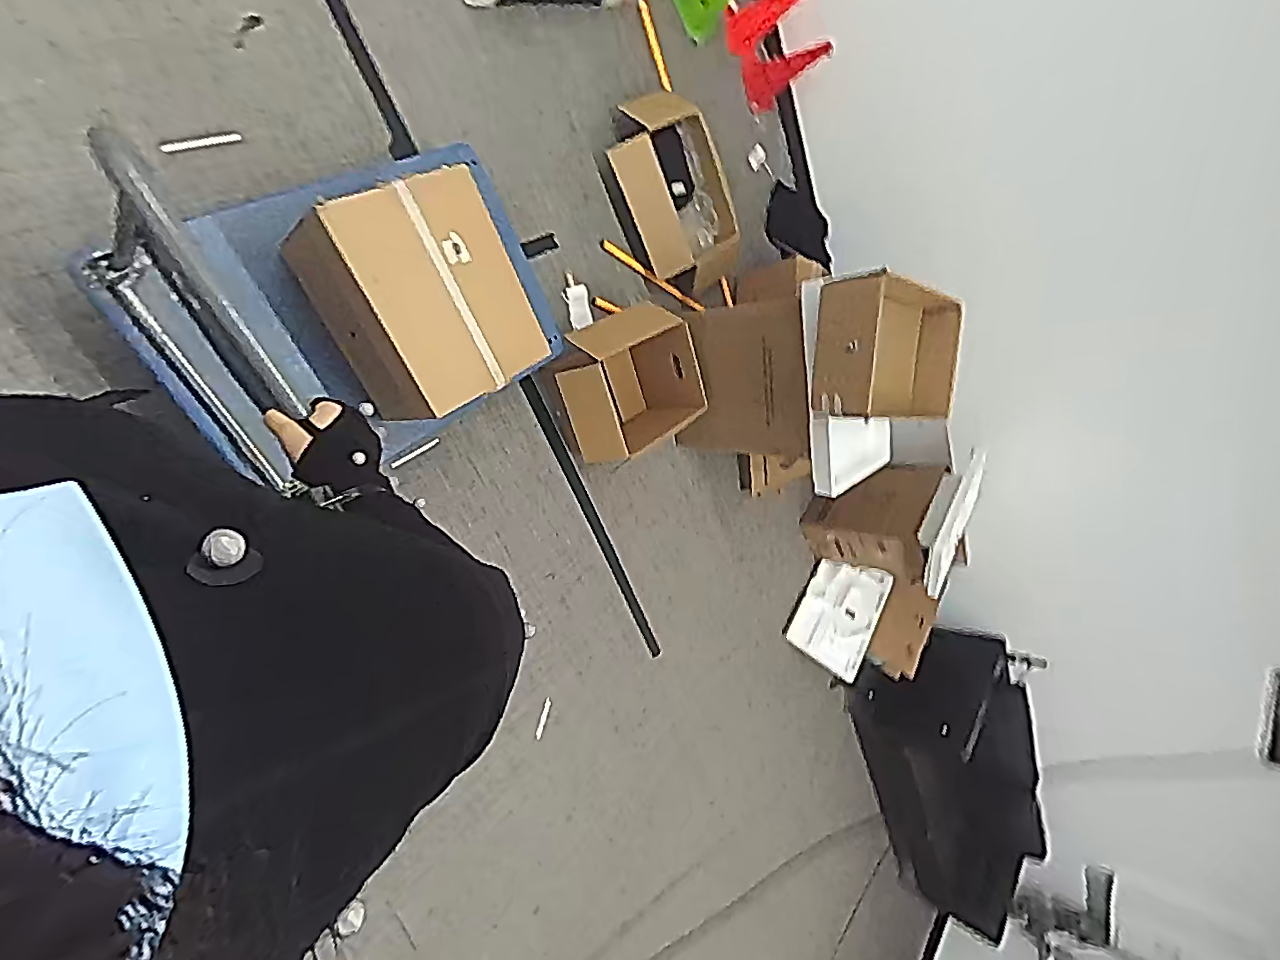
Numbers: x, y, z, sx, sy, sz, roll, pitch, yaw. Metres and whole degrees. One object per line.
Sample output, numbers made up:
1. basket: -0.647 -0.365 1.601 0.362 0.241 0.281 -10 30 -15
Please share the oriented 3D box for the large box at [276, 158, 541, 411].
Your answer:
1. large box: -0.492 -0.397 1.174 0.320 0.320 0.408 -41 120 -34
